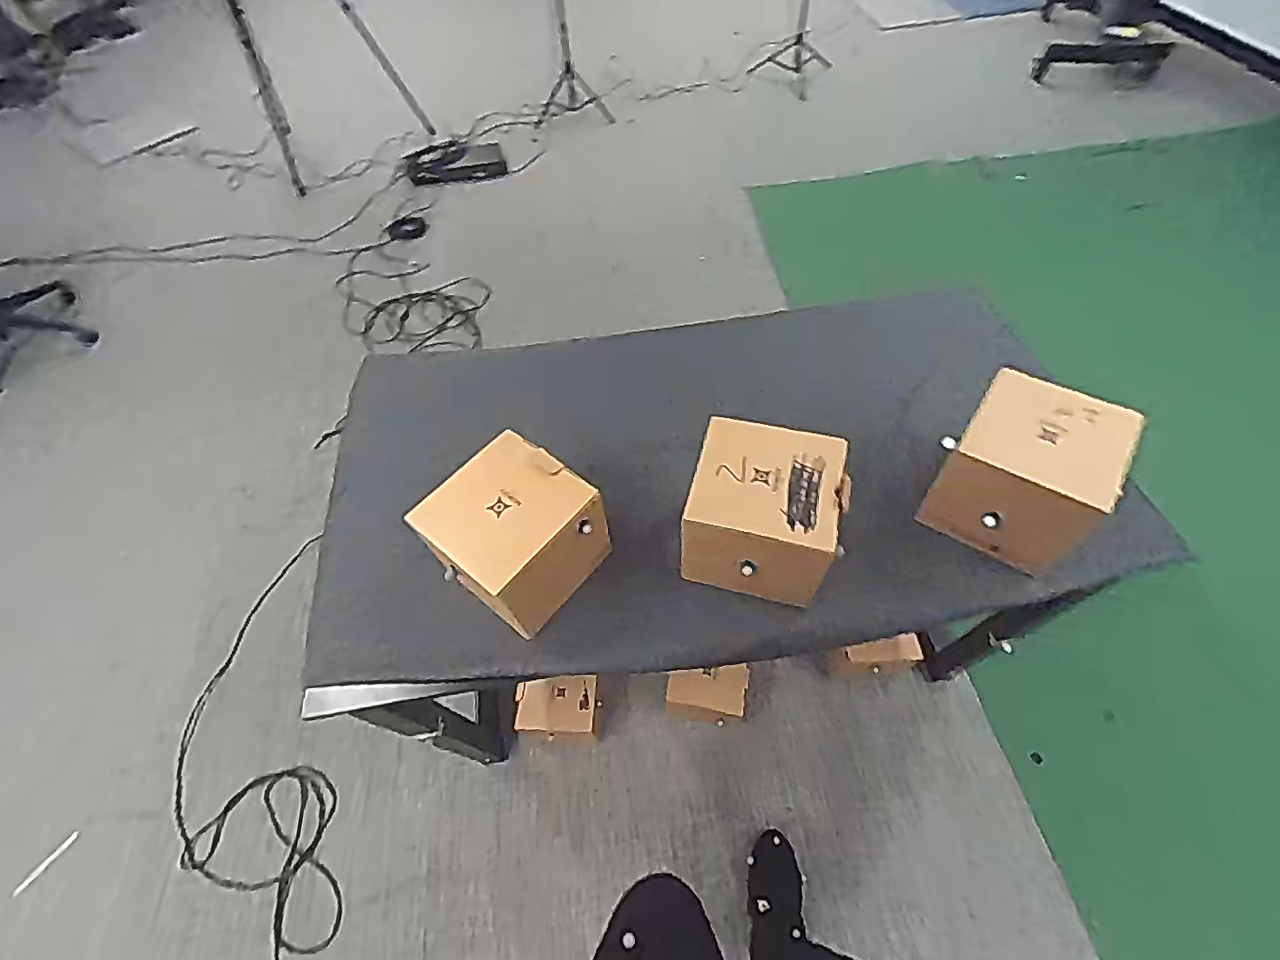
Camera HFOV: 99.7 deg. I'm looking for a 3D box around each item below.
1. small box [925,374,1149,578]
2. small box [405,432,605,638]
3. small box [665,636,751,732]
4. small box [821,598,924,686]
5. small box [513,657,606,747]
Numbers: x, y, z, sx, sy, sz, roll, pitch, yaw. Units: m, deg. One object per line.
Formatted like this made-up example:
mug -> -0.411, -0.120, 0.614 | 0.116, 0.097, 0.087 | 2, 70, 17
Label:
small box -> 0.509, -0.001, 0.718 | 0.168, 0.176, 0.179 | 30, 62, 24
small box -> -0.162, 0.077, 0.713 | 0.168, 0.176, 0.179 | 33, 64, 23
small box -> 0.162, 0.492, 1.292 | 0.179, 0.176, 0.168 | 8, 56, 10
small box -> 0.557, 0.402, 1.328 | 0.179, 0.176, 0.168 | -3, 56, 0
small box -> -0.183, 0.531, 1.286 | 0.179, 0.176, 0.168 | 1, 57, 5
